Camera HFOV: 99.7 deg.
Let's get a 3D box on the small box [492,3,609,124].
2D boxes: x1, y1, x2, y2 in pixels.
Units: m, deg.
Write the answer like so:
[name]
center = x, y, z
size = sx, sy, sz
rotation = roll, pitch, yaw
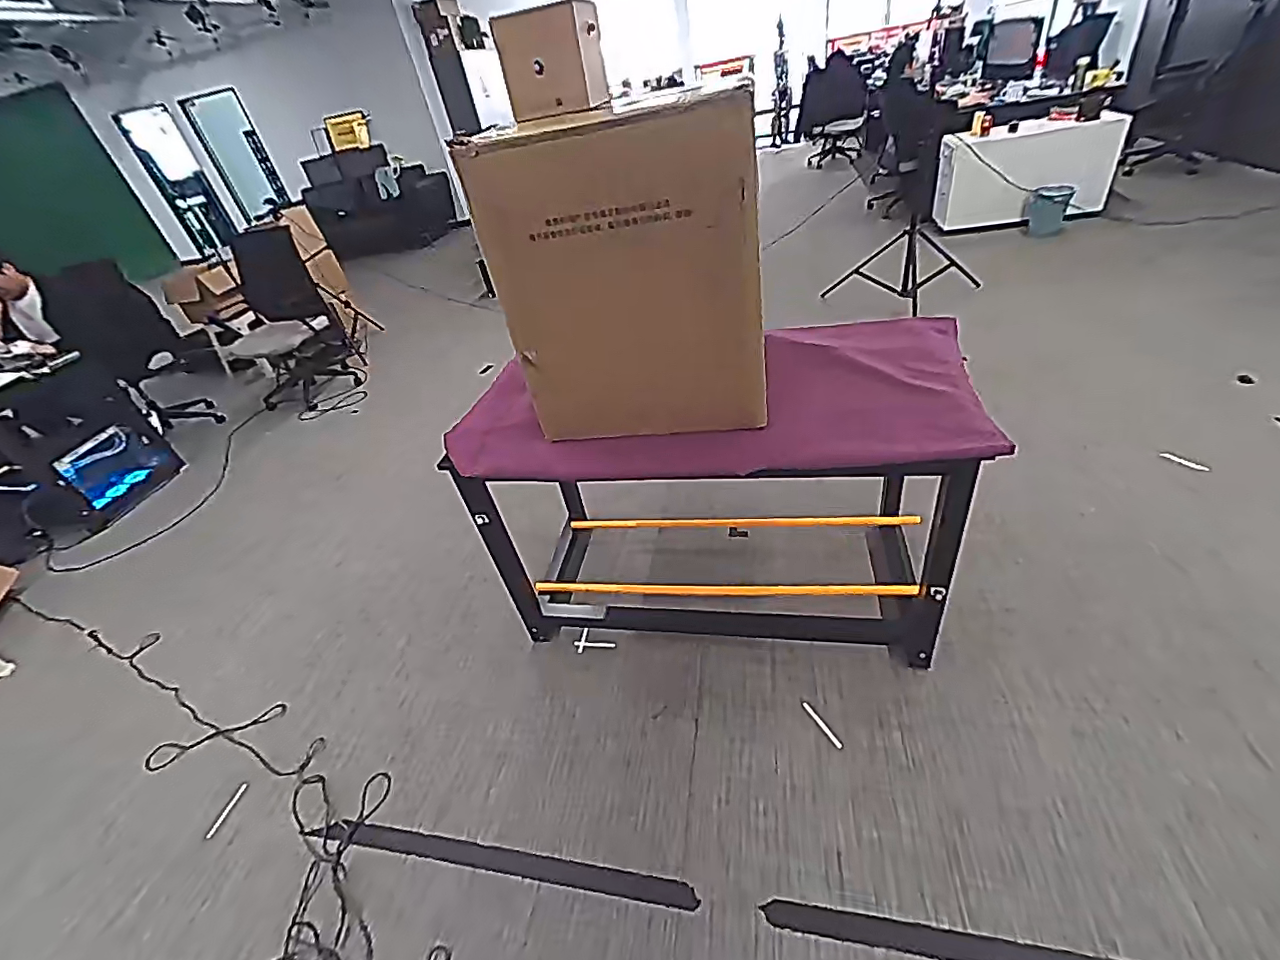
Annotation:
[small box]
center = -0.169, -0.835, 1.093
size = 0.168, 0.176, 0.179
rotation = 1, 39, 15
